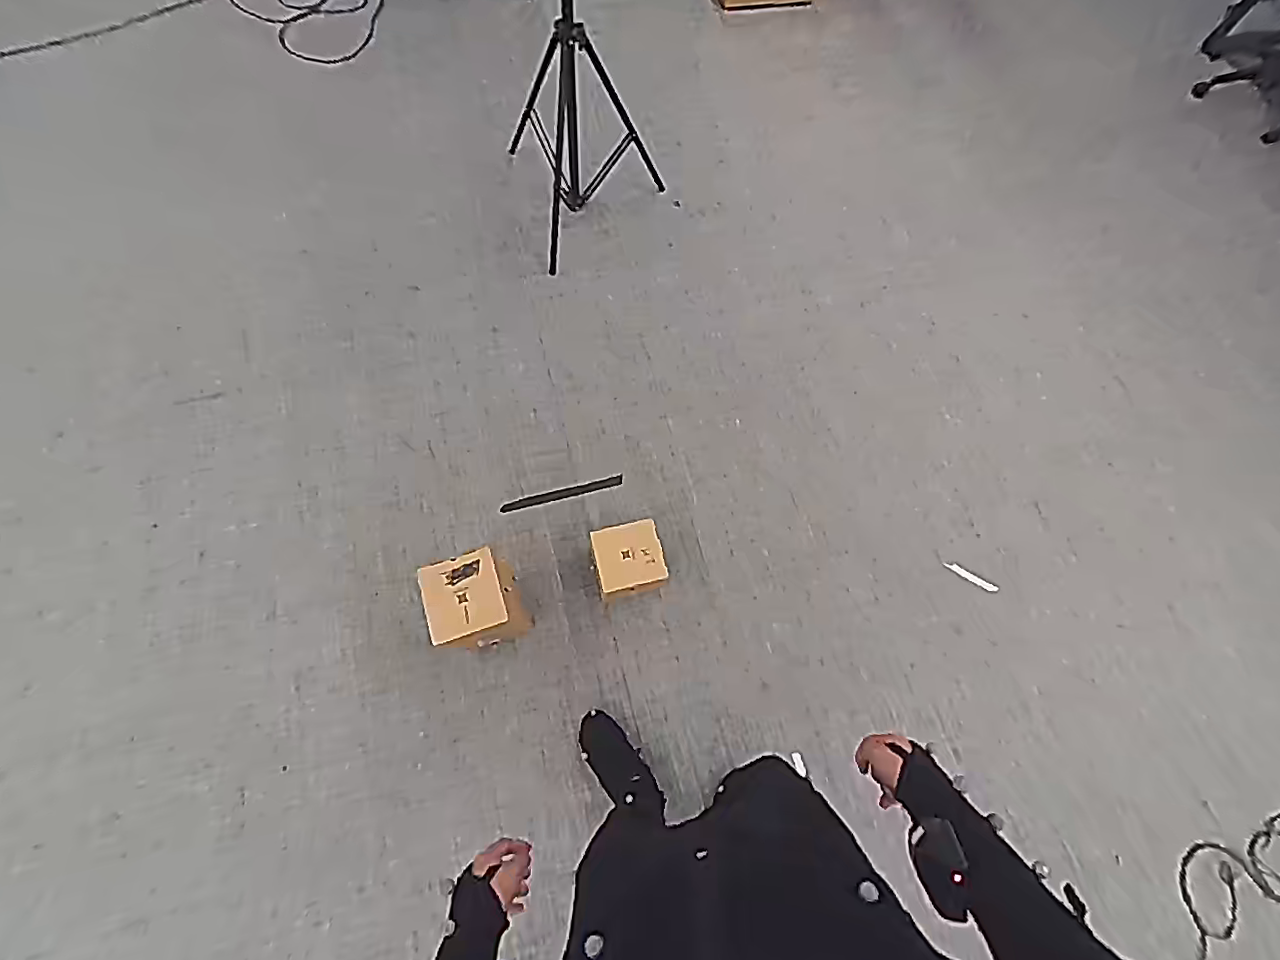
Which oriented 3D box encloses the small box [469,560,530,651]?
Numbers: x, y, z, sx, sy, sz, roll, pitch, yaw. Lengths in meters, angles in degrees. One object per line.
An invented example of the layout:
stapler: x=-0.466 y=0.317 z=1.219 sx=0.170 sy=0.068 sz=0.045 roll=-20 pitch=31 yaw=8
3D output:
small box: x=-0.395 y=0.332 z=1.410 sx=0.168 sy=0.176 sz=0.179 roll=-19 pitch=72 yaw=-11

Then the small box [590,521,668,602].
small box: x=-0.035 y=0.227 z=1.478 sx=0.179 sy=0.176 sz=0.168 roll=-11 pitch=71 yaw=-9

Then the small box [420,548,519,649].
small box: x=-0.389 y=0.280 z=1.255 sx=0.168 sy=0.176 sz=0.179 roll=-17 pitch=72 yaw=-10
